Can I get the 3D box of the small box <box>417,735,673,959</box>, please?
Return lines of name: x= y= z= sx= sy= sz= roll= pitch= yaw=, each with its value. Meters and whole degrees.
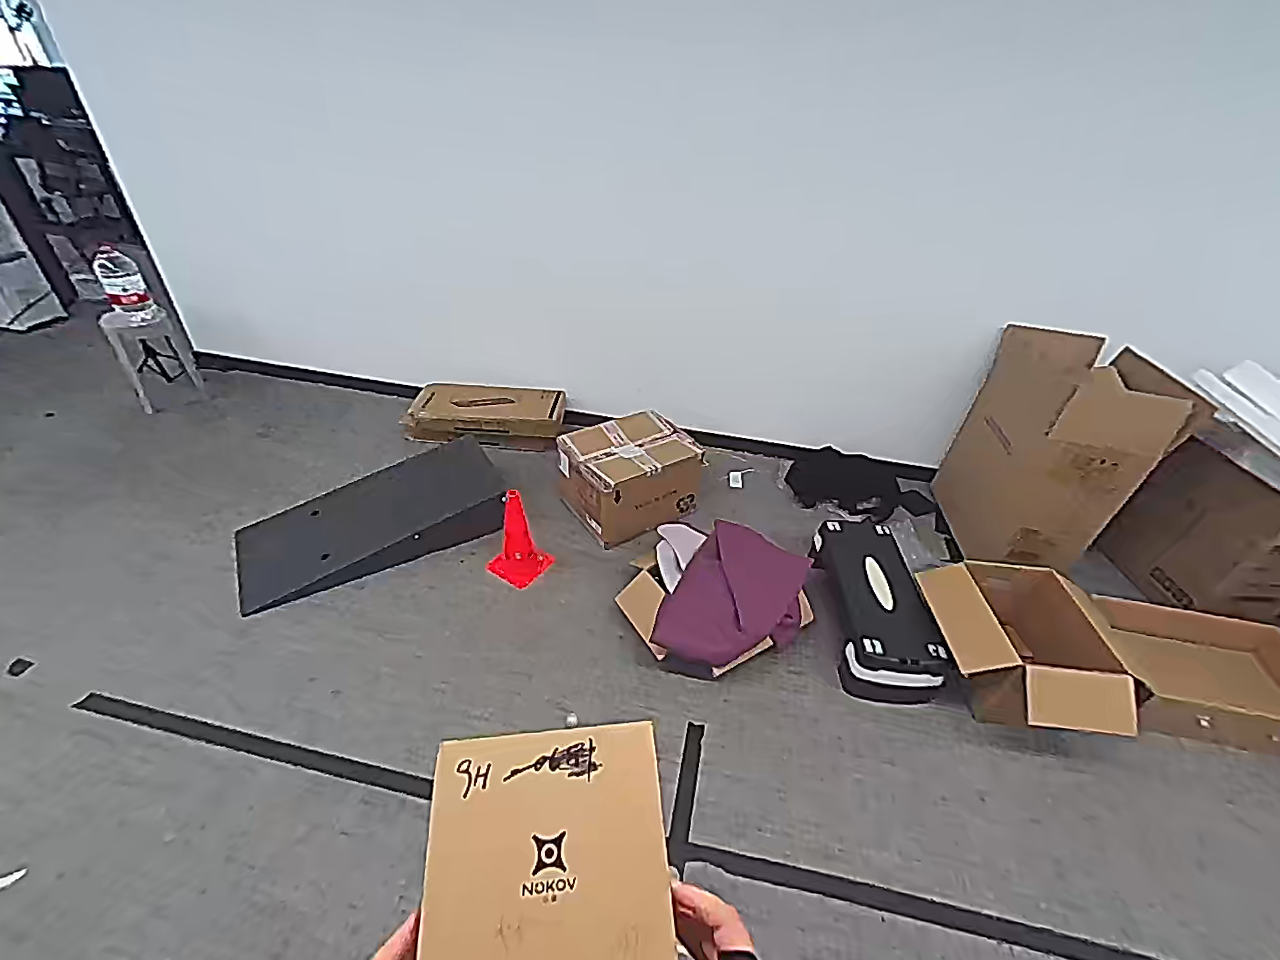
small box: x=-0.065 y=0.317 z=0.431 sx=0.168 sy=0.176 sz=0.179 roll=-4 pitch=56 yaw=-6
